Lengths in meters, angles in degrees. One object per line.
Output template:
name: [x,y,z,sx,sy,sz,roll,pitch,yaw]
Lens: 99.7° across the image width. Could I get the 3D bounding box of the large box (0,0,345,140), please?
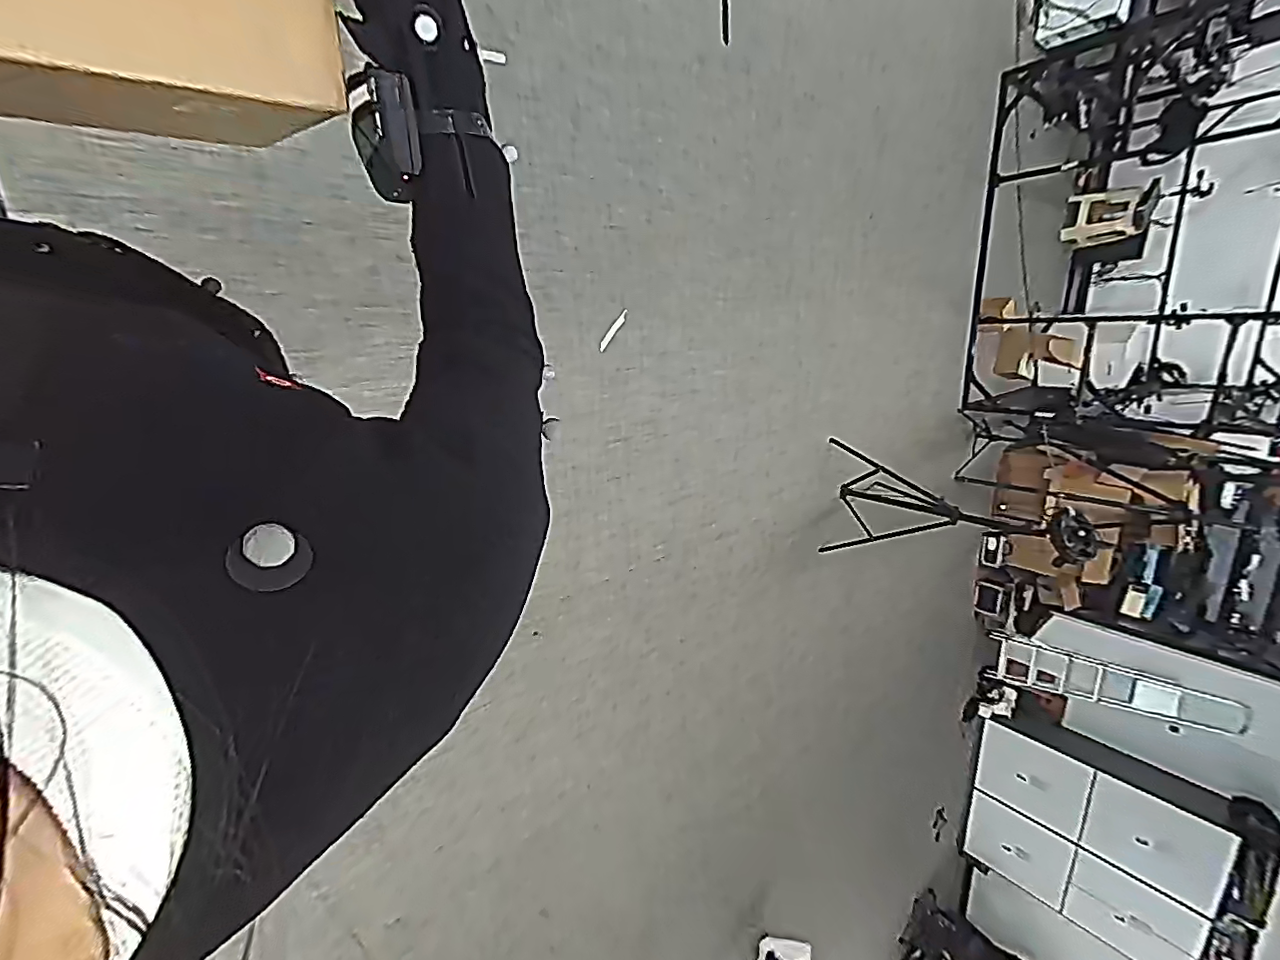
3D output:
large box: [-0.437,-0.386,0.277,0.408,0.320,0.320,-18,123,-38]
